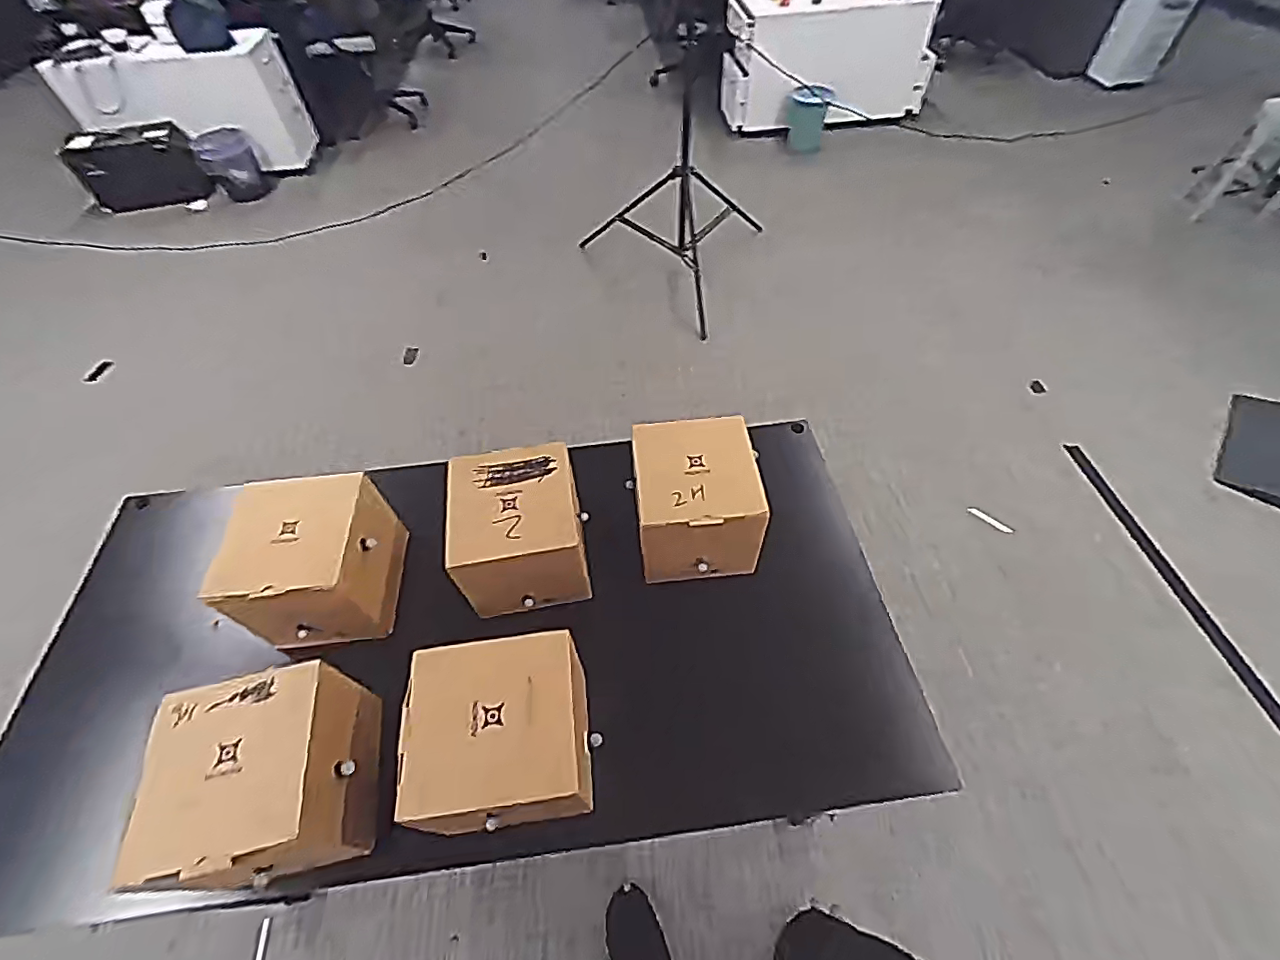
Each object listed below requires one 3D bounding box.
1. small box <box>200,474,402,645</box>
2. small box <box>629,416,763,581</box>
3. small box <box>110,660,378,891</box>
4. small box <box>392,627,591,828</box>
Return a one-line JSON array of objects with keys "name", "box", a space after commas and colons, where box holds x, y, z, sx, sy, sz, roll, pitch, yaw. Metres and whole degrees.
[{"name": "small box", "box": [-0.455, 0.114, 0.764, 0.168, 0.176, 0.179, -6, 54, -2]}, {"name": "small box", "box": [0.073, 0.029, 0.804, 0.168, 0.176, 0.179, -6, 54, -1]}, {"name": "small box", "box": [-0.411, 0.328, 0.603, 0.168, 0.176, 0.179, -12, 54, -6]}, {"name": "small box", "box": [-0.158, 0.290, 0.624, 0.179, 0.176, 0.168, -7, 54, -4]}]
